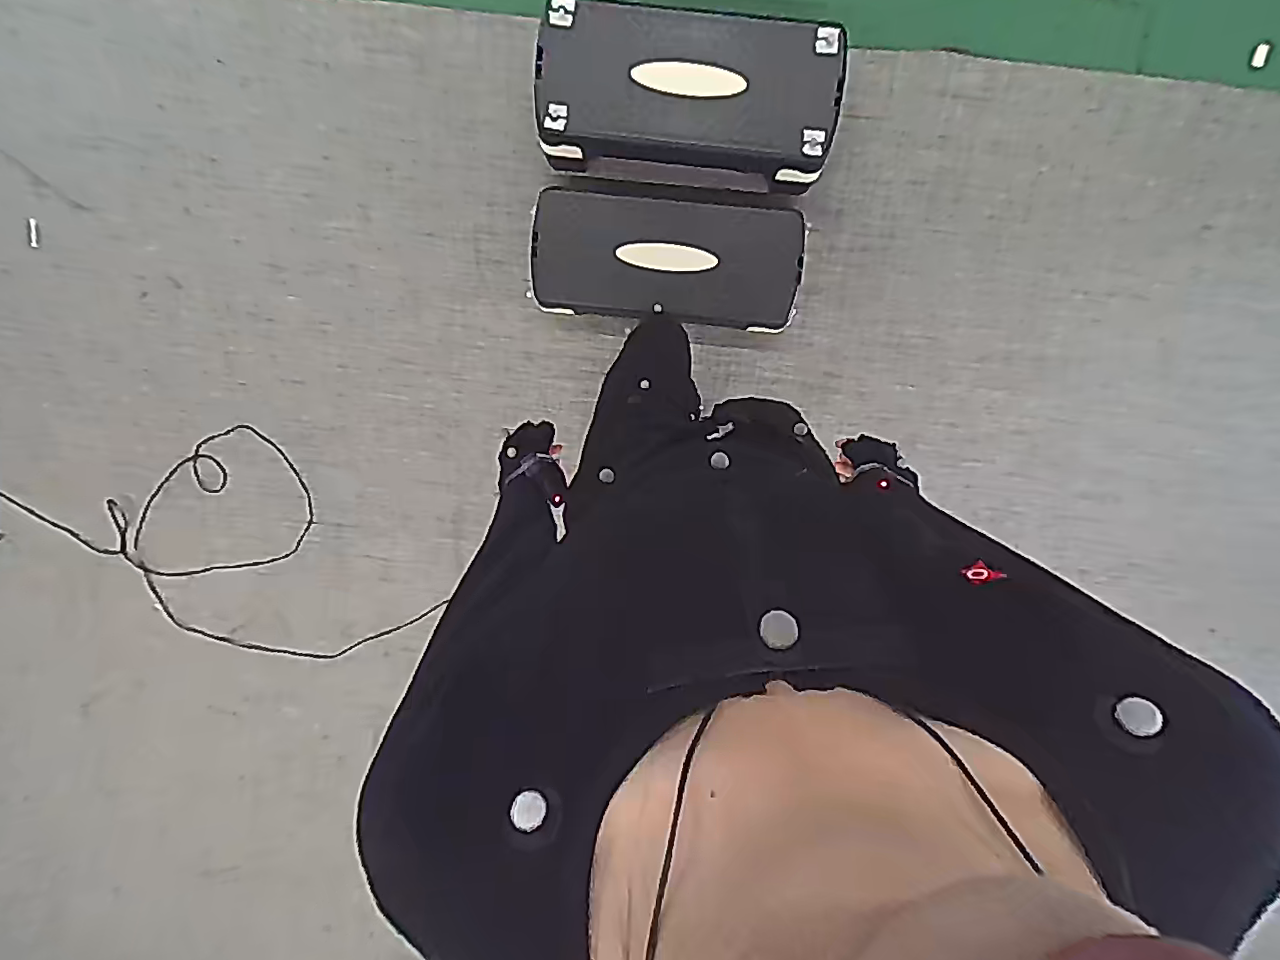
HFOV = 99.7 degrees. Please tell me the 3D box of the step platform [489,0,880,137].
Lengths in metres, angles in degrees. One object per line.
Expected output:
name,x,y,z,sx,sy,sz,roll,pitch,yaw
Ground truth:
step platform,0.079,-0.859,1.023,0.684,0.204,0.286,6,101,1
